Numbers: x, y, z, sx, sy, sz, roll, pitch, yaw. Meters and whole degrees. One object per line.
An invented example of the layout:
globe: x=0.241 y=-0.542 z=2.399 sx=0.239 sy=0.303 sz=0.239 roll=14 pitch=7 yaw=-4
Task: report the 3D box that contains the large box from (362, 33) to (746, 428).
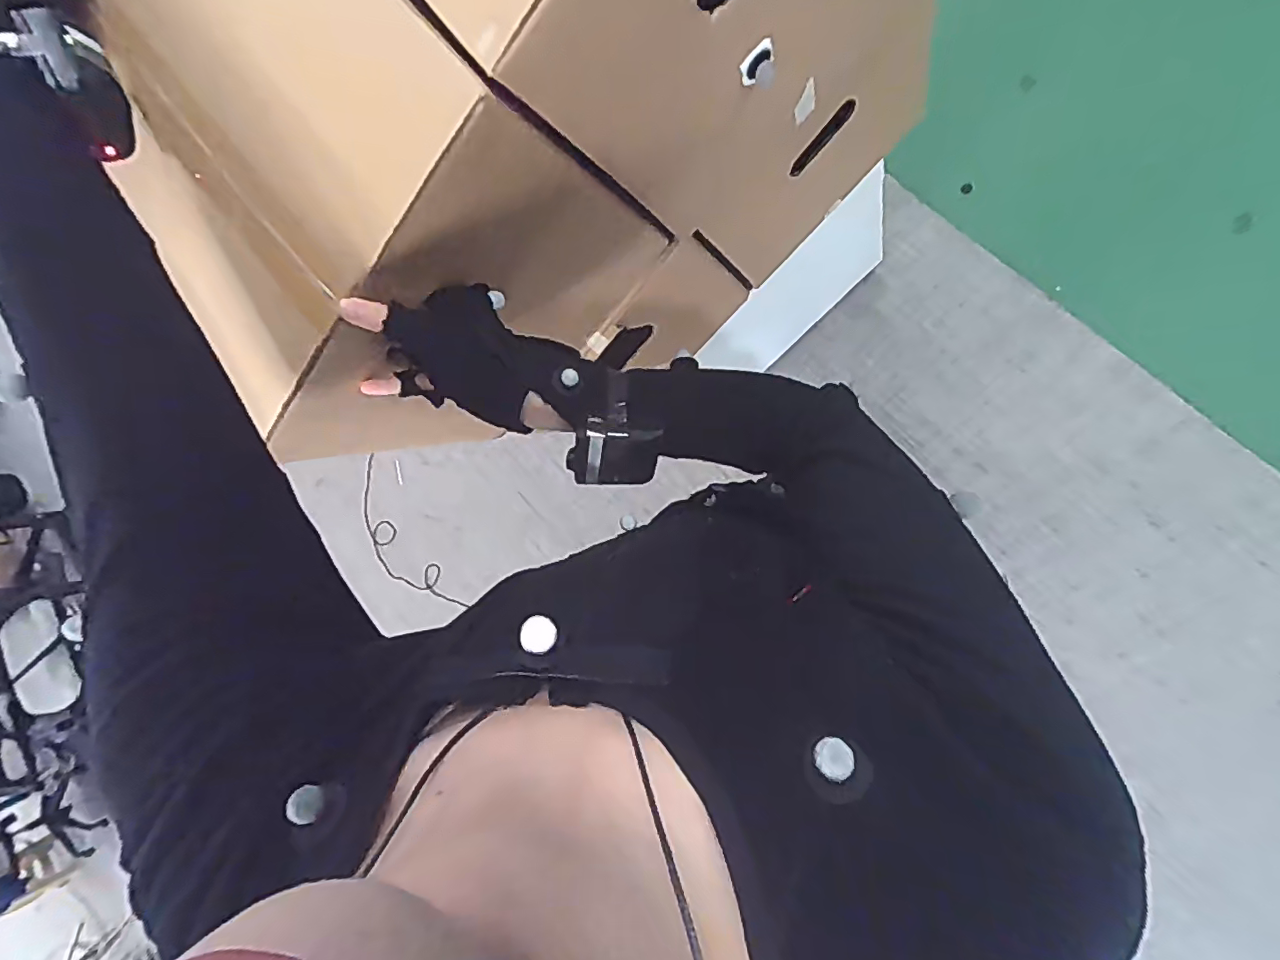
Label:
large box: x=-0.113 y=-0.322 z=0.809 sx=0.320 sy=0.320 sz=0.408 roll=-46 pitch=75 yaw=19
